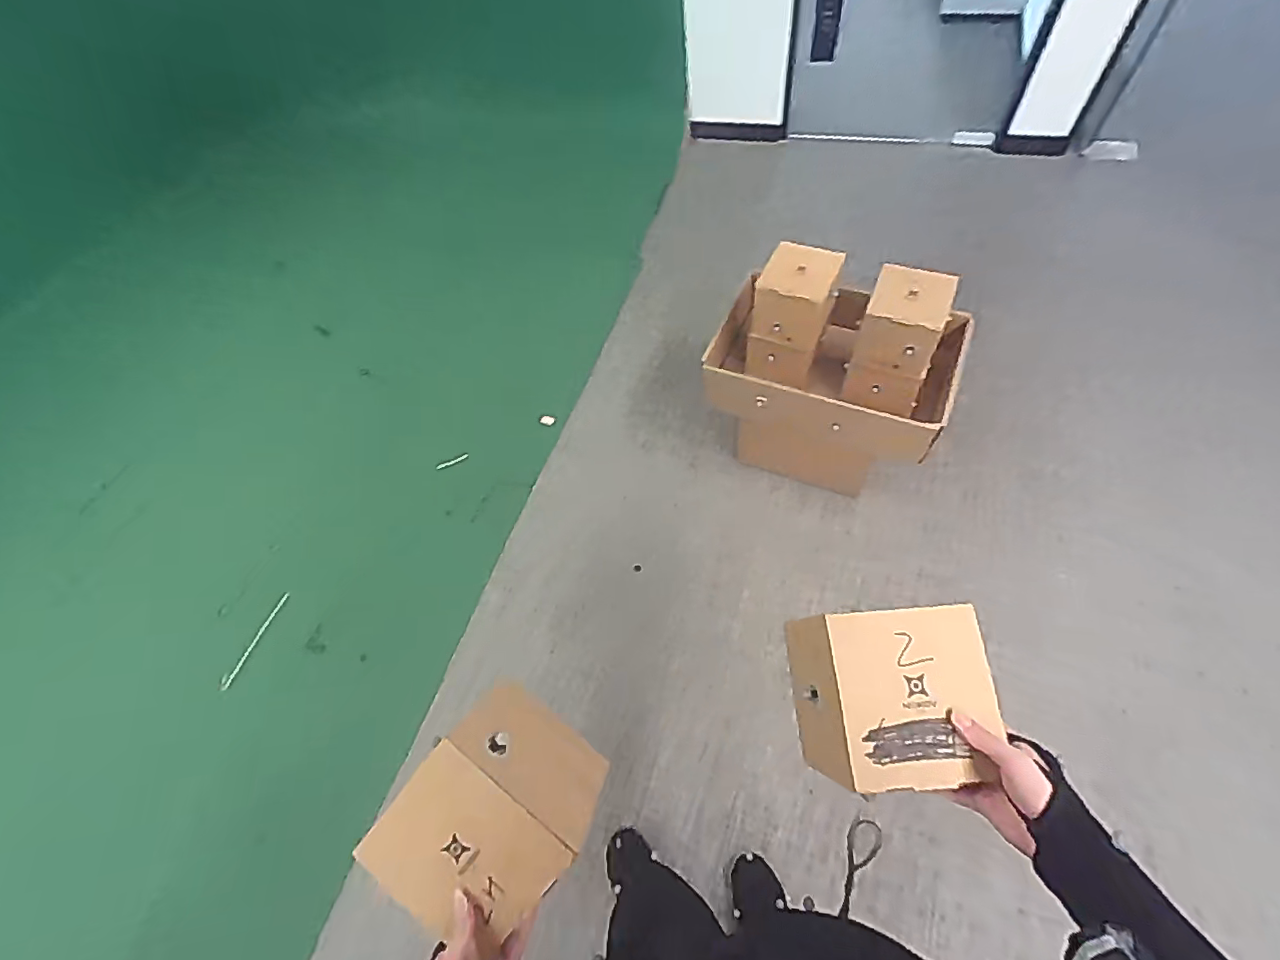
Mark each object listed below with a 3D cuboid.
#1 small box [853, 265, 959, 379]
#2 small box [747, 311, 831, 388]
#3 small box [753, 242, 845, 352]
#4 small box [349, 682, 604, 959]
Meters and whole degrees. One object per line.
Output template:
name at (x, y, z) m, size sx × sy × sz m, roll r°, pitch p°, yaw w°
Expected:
small box at (0.617, -0.368, 1.274) m, size 0.168 × 0.176 × 0.179 m, roll 21°, pitch 64°, yaw 18°
small box at (0.407, -0.381, 1.504) m, size 0.179 × 0.176 × 0.168 m, roll 22°, pitch 65°, yaw 18°
small box at (0.393, -0.457, 1.360) m, size 0.168 × 0.176 × 0.179 m, roll 22°, pitch 65°, yaw 18°
small box at (-0.166, 0.354, 0.604) m, size 0.179 × 0.176 × 0.168 m, roll 40°, pitch 96°, yaw 5°
